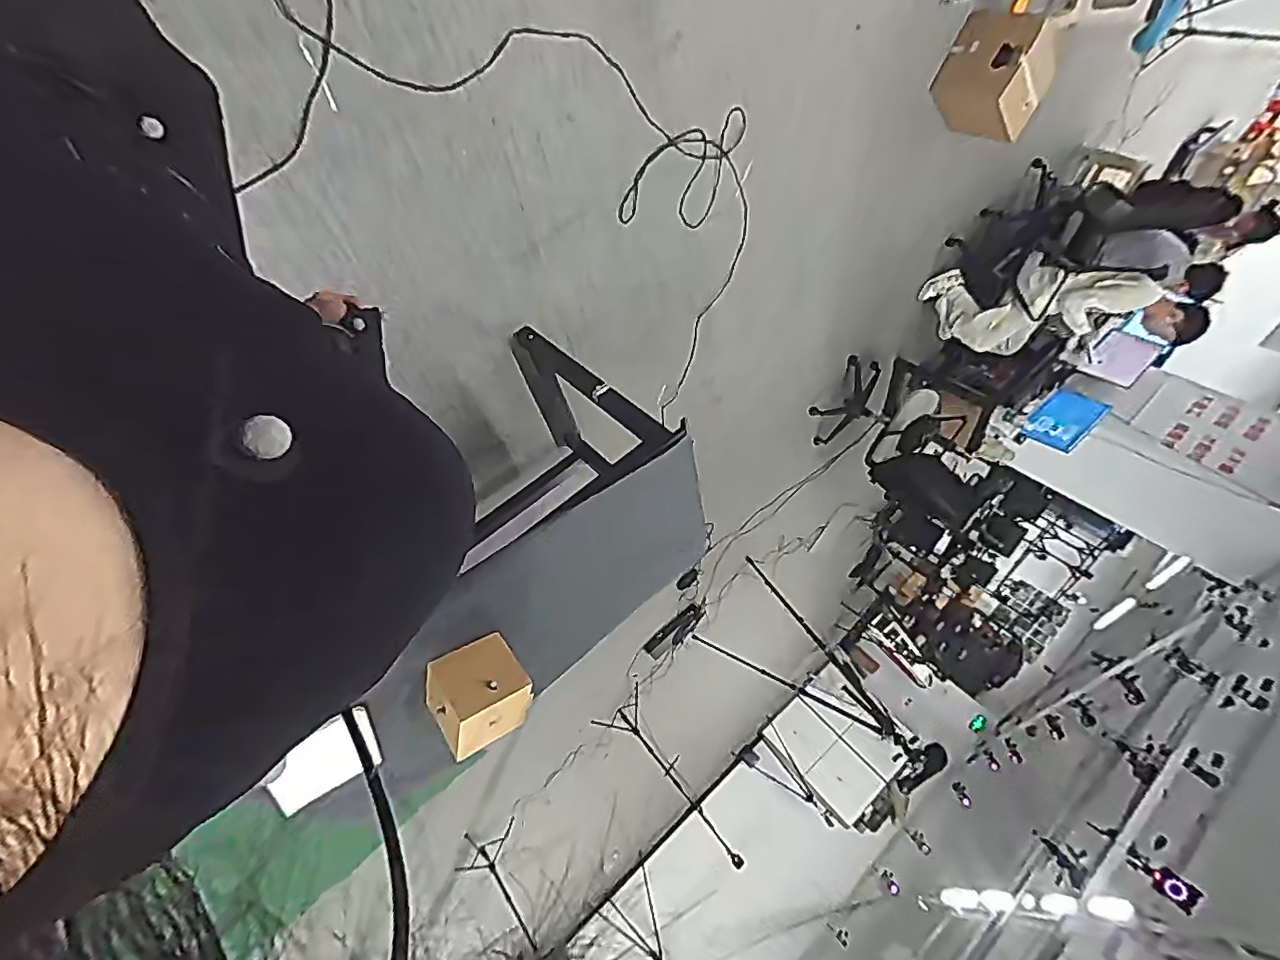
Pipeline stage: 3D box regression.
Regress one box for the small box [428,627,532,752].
[{"bbox_3d":[-0.375,0.476,1.249,0.179,0.176,0.168,-19,137,-40],"label":"small box"}]
